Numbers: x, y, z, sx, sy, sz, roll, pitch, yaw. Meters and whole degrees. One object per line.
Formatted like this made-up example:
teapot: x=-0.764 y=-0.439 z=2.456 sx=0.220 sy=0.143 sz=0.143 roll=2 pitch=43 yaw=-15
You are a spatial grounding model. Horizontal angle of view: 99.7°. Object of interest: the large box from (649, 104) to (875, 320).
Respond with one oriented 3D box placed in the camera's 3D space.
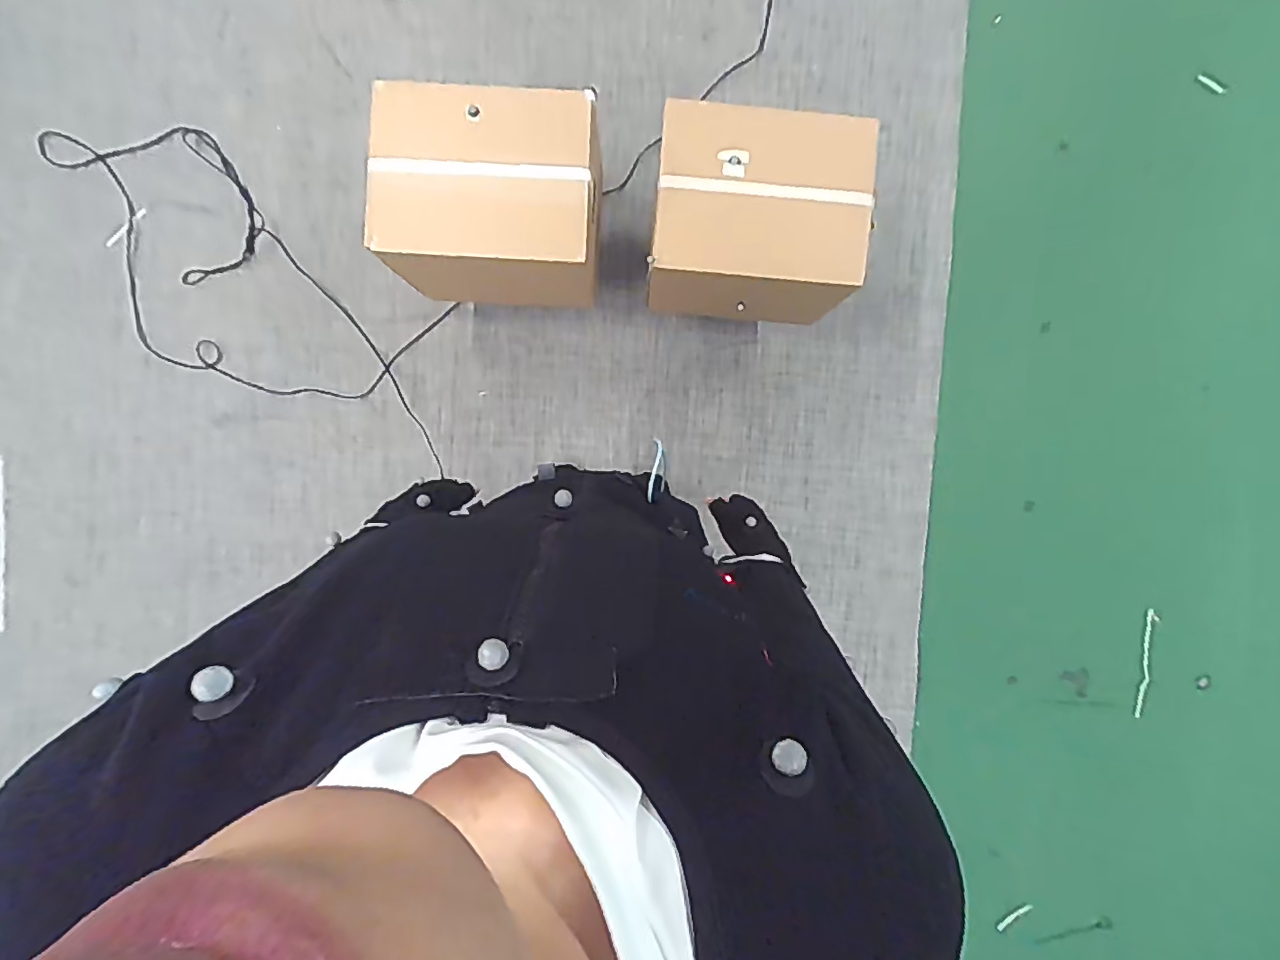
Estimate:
large box: x=0.235 y=-0.547 z=1.172 sx=0.408 sy=0.320 sz=0.320 roll=5 pitch=92 yaw=-1
